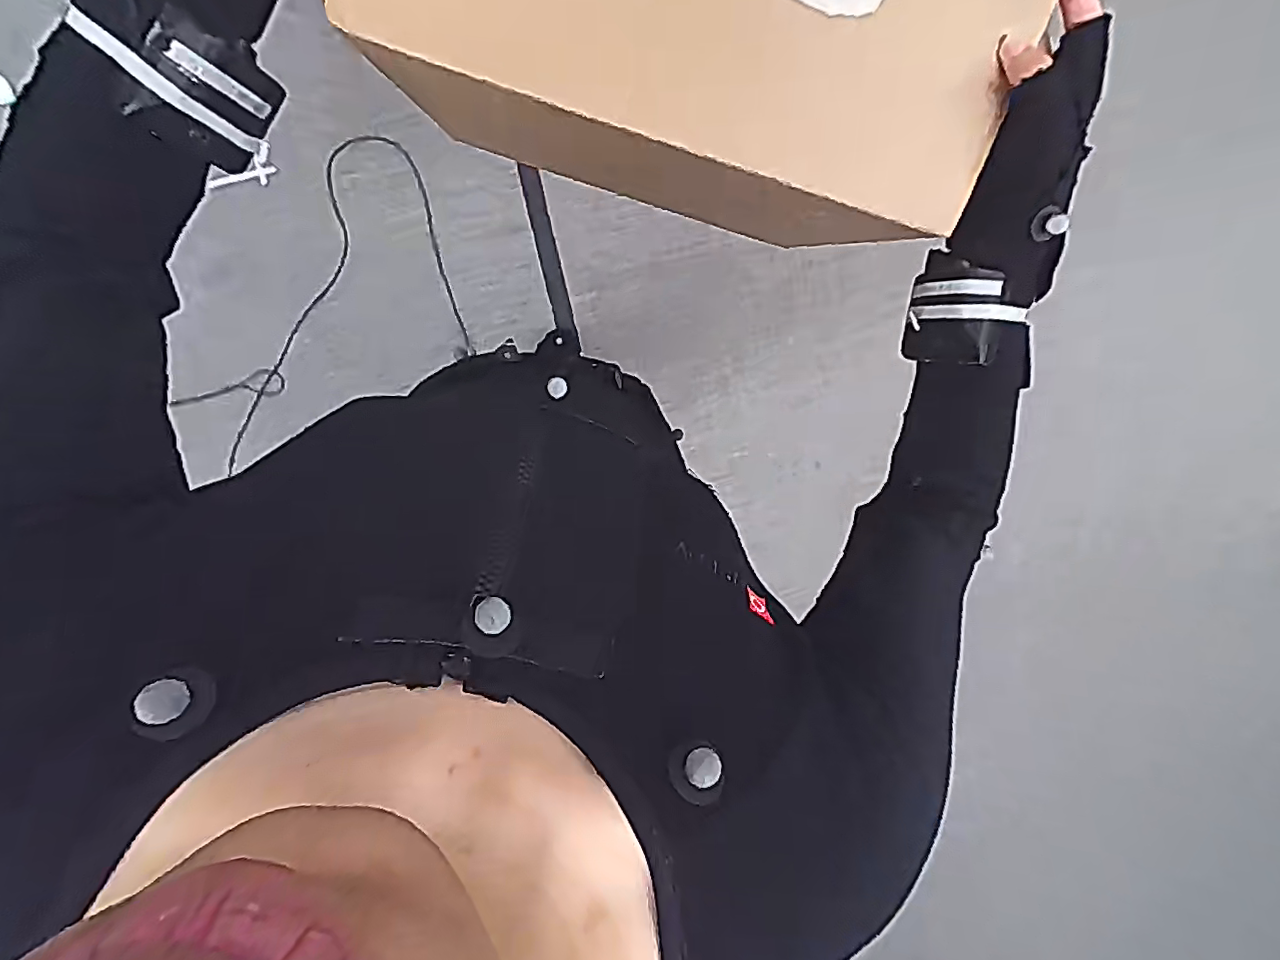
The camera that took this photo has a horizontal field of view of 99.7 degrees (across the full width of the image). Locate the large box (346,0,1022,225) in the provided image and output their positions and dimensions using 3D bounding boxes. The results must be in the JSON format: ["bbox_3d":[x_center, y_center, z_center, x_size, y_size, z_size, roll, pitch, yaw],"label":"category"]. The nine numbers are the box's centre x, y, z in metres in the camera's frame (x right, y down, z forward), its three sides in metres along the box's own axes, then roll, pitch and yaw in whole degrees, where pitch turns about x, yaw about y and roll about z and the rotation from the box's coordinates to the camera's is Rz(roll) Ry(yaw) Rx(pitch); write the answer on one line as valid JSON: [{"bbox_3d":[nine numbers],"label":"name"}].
[{"bbox_3d":[0.037,-0.421,0.428,0.408,0.320,0.320,10,111,-11],"label":"large box"}]
